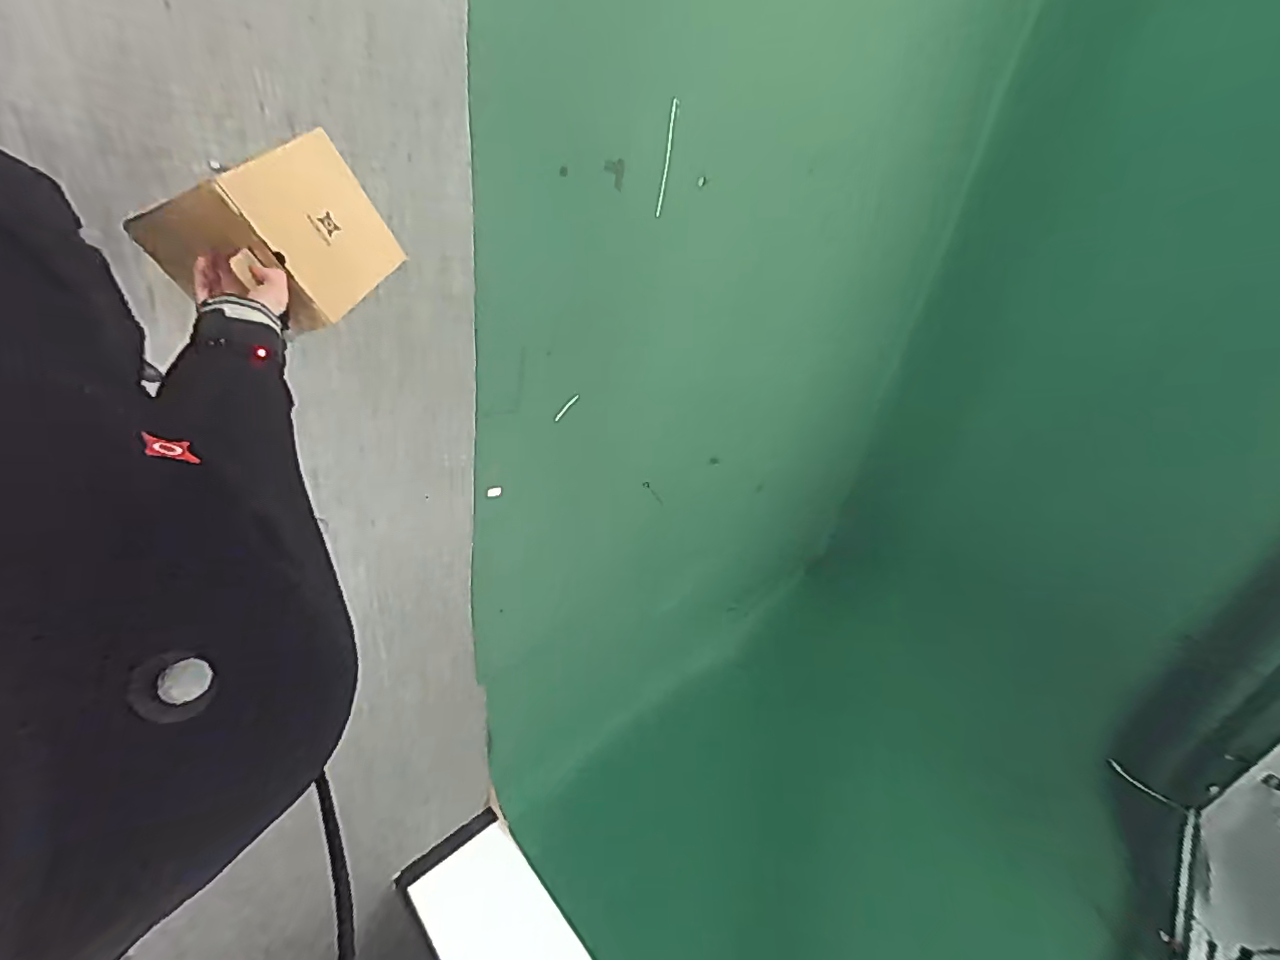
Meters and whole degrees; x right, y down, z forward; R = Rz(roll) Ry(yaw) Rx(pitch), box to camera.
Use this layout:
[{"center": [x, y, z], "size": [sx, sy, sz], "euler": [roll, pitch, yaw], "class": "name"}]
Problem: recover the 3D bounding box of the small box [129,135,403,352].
[{"center": [-0.434, -0.278, 0.648], "size": [0.179, 0.176, 0.168], "euler": [-74, 149, -42], "class": "small box"}]
